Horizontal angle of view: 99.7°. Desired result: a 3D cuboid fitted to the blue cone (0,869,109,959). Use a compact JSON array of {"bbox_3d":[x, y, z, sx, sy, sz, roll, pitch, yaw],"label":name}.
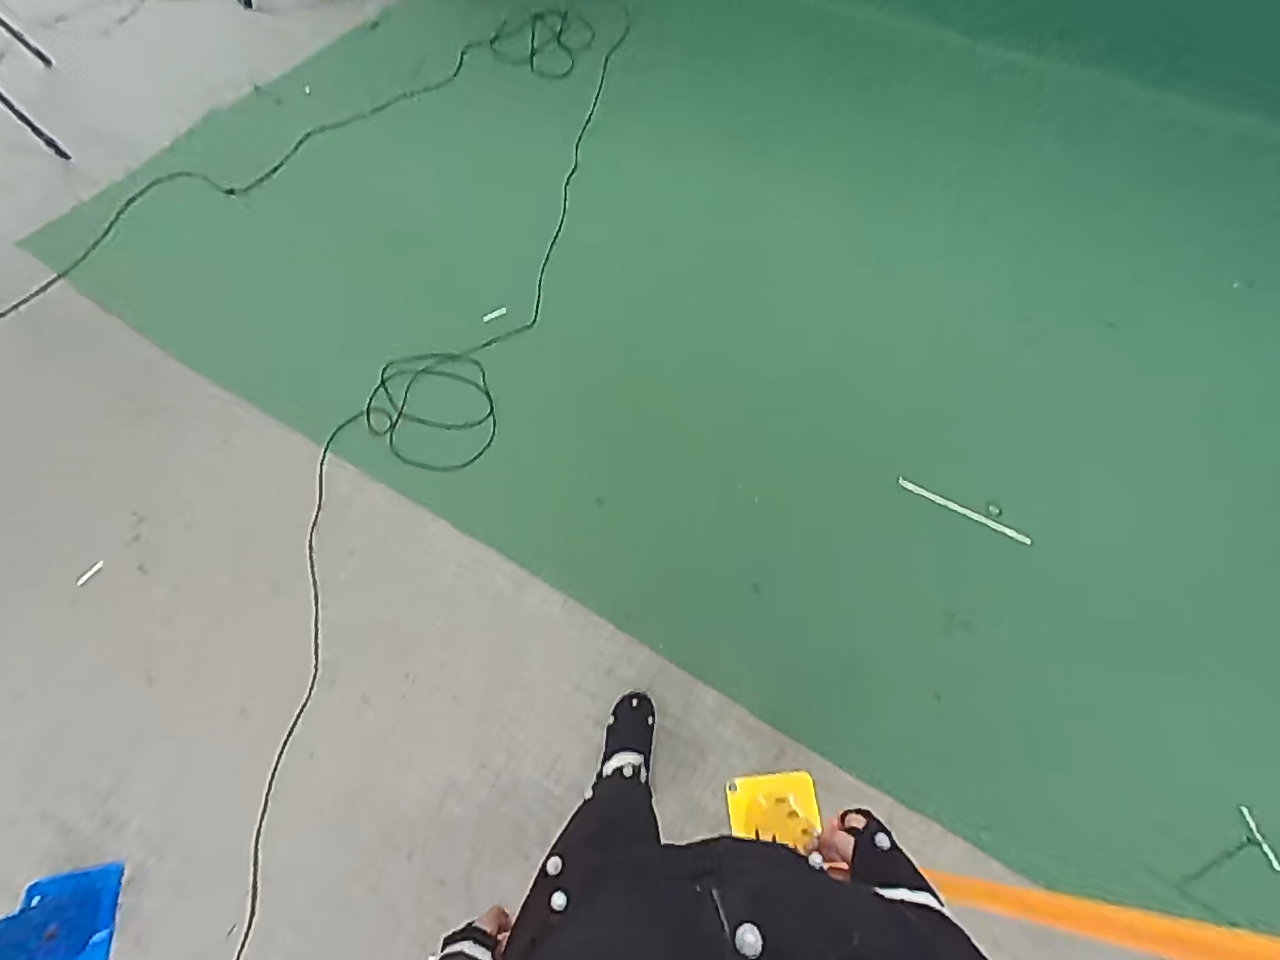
[{"bbox_3d":[-1.216,0.875,0.972,0.193,0.380,0.192,-13,67,-3],"label":"blue cone"}]
